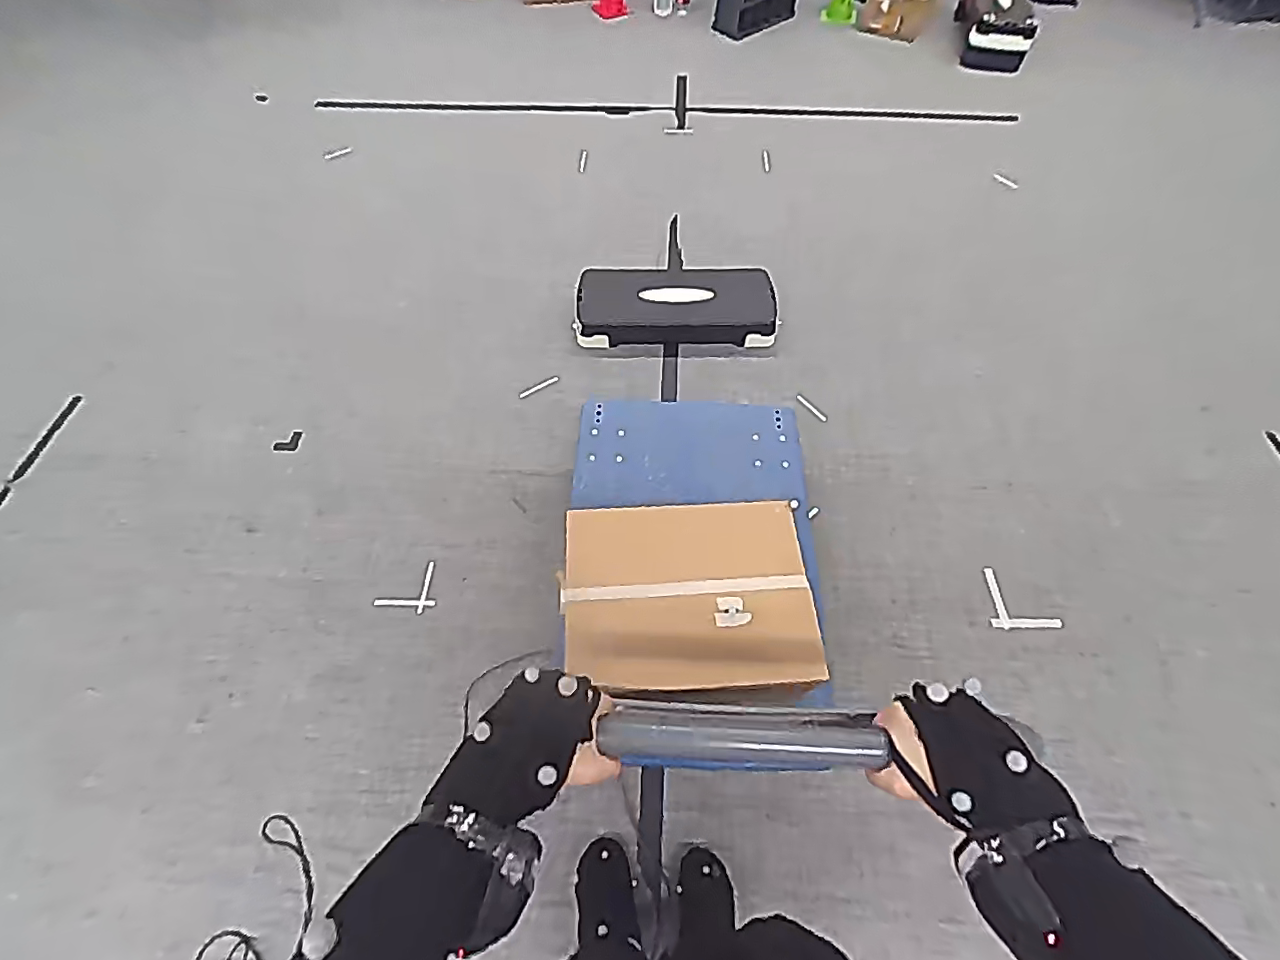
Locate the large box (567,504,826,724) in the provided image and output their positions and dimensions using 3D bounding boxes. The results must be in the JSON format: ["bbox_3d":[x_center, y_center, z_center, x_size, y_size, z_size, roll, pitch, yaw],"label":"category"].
[{"bbox_3d":[0.075,0.262,1.024,0.408,0.320,0.320,-2,60,-3],"label":"large box"}]
